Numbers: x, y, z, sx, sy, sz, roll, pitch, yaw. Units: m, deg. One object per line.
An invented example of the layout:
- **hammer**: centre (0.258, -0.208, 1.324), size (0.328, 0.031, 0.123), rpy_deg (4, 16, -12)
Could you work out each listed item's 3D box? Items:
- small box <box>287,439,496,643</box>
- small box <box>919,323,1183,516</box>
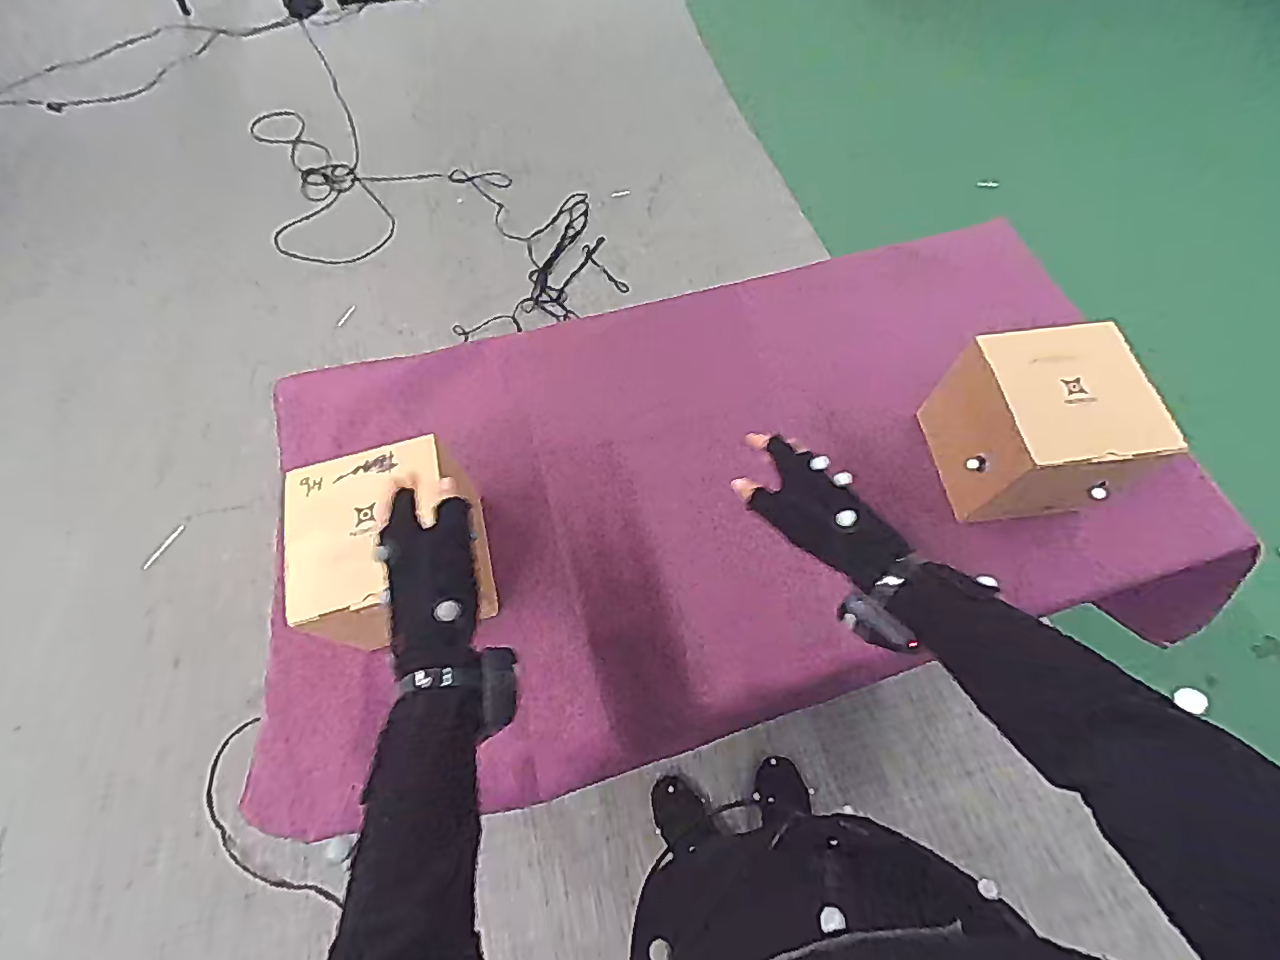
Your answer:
- **small box**: centre (-0.280, 0.082, 0.635), size (0.168, 0.176, 0.179), rpy_deg (-15, 65, -5)
- **small box**: centre (0.480, -0.063, 0.668), size (0.168, 0.176, 0.179), rpy_deg (-6, 64, 0)
